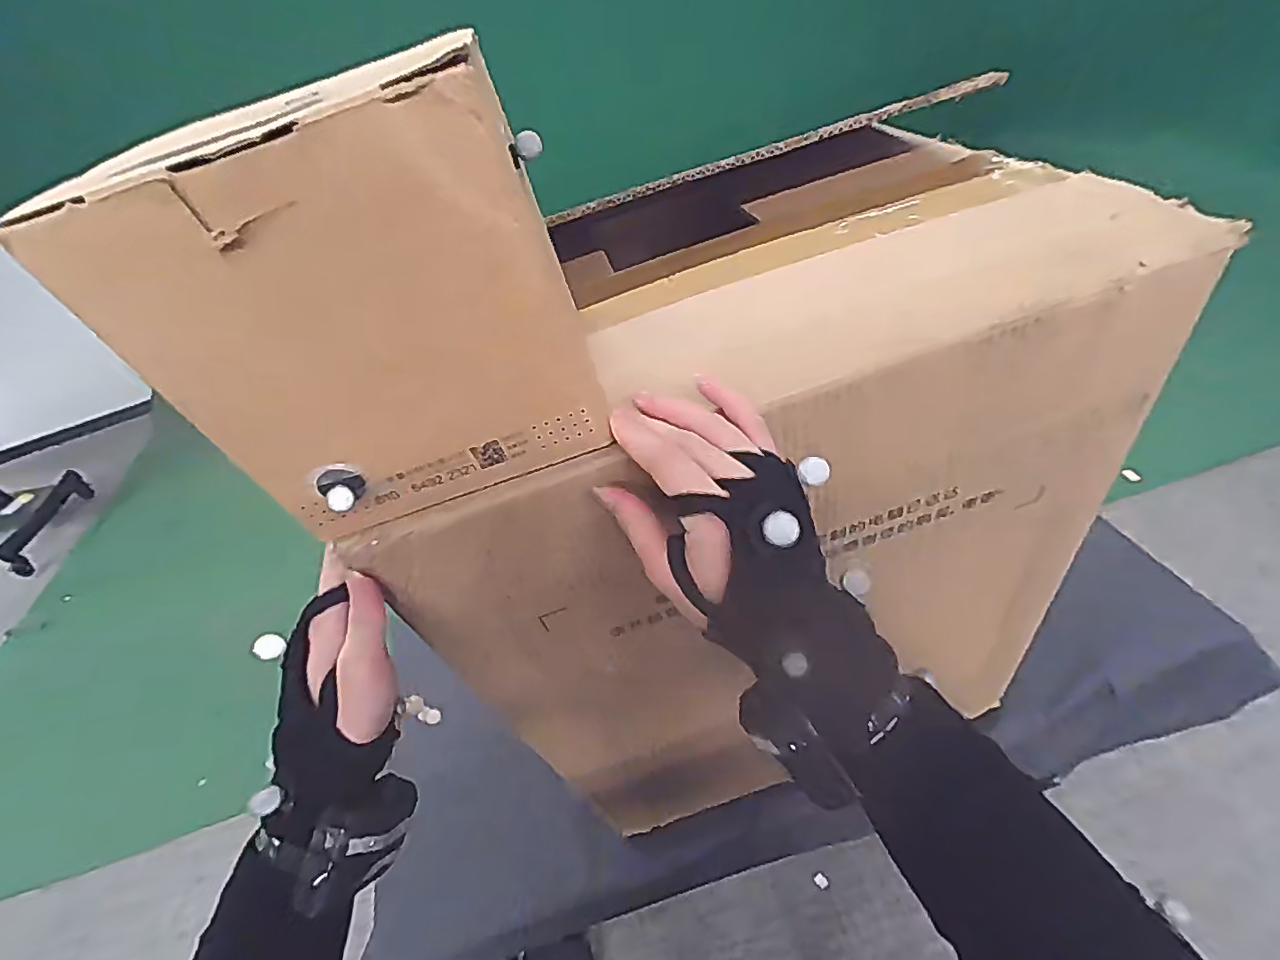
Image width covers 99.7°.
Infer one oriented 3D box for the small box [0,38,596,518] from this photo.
[{"bbox_3d":[-0.132,-0.100,0.291,0.168,0.176,0.179,-19,43,1],"label":"small box"}]
